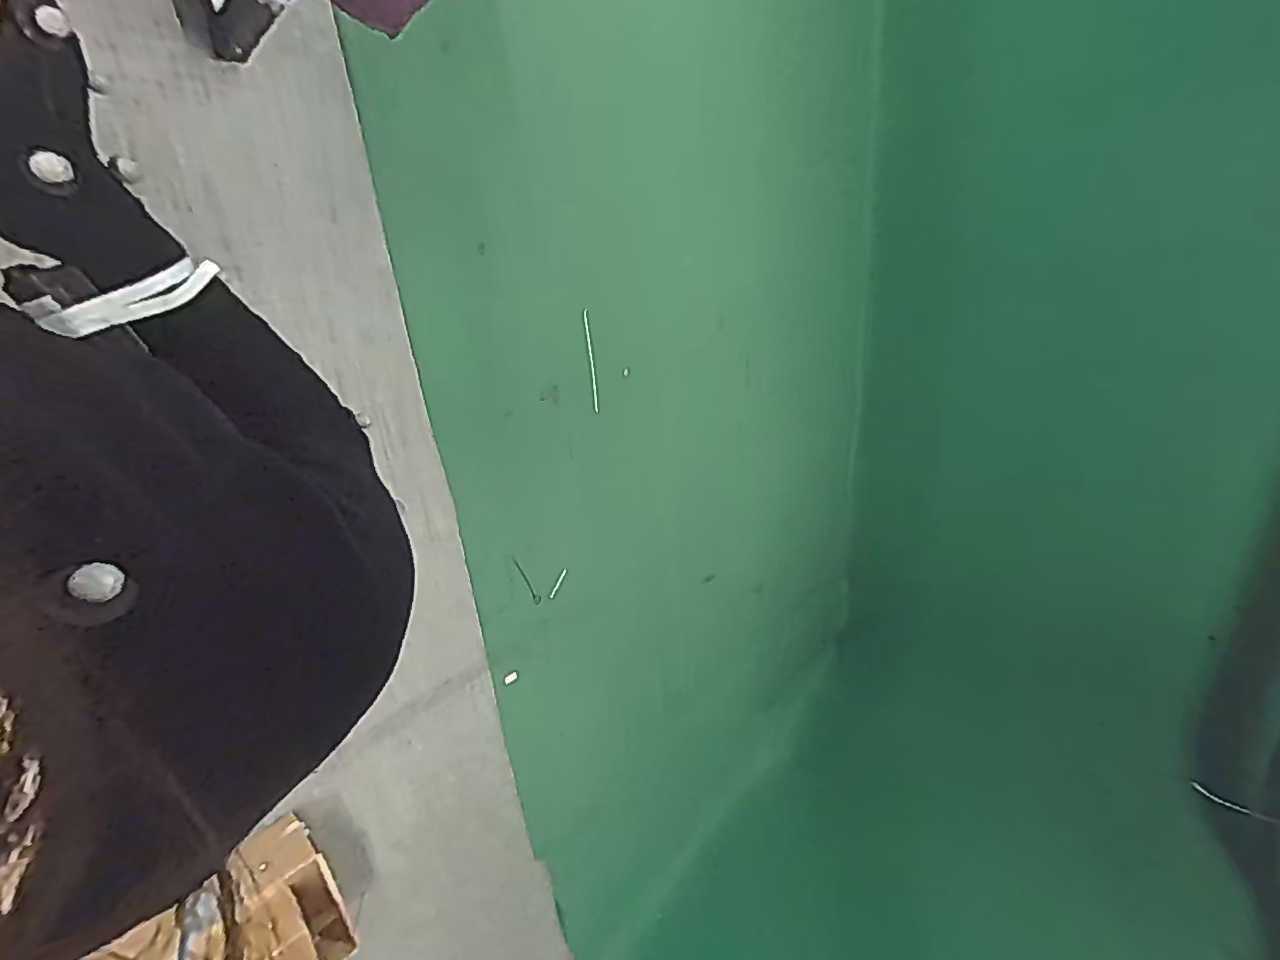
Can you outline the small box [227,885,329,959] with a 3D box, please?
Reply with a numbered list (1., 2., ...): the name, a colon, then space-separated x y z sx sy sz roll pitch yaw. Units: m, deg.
1. small box: -0.939 1.205 1.402 0.168 0.176 0.179 -21 115 -42
